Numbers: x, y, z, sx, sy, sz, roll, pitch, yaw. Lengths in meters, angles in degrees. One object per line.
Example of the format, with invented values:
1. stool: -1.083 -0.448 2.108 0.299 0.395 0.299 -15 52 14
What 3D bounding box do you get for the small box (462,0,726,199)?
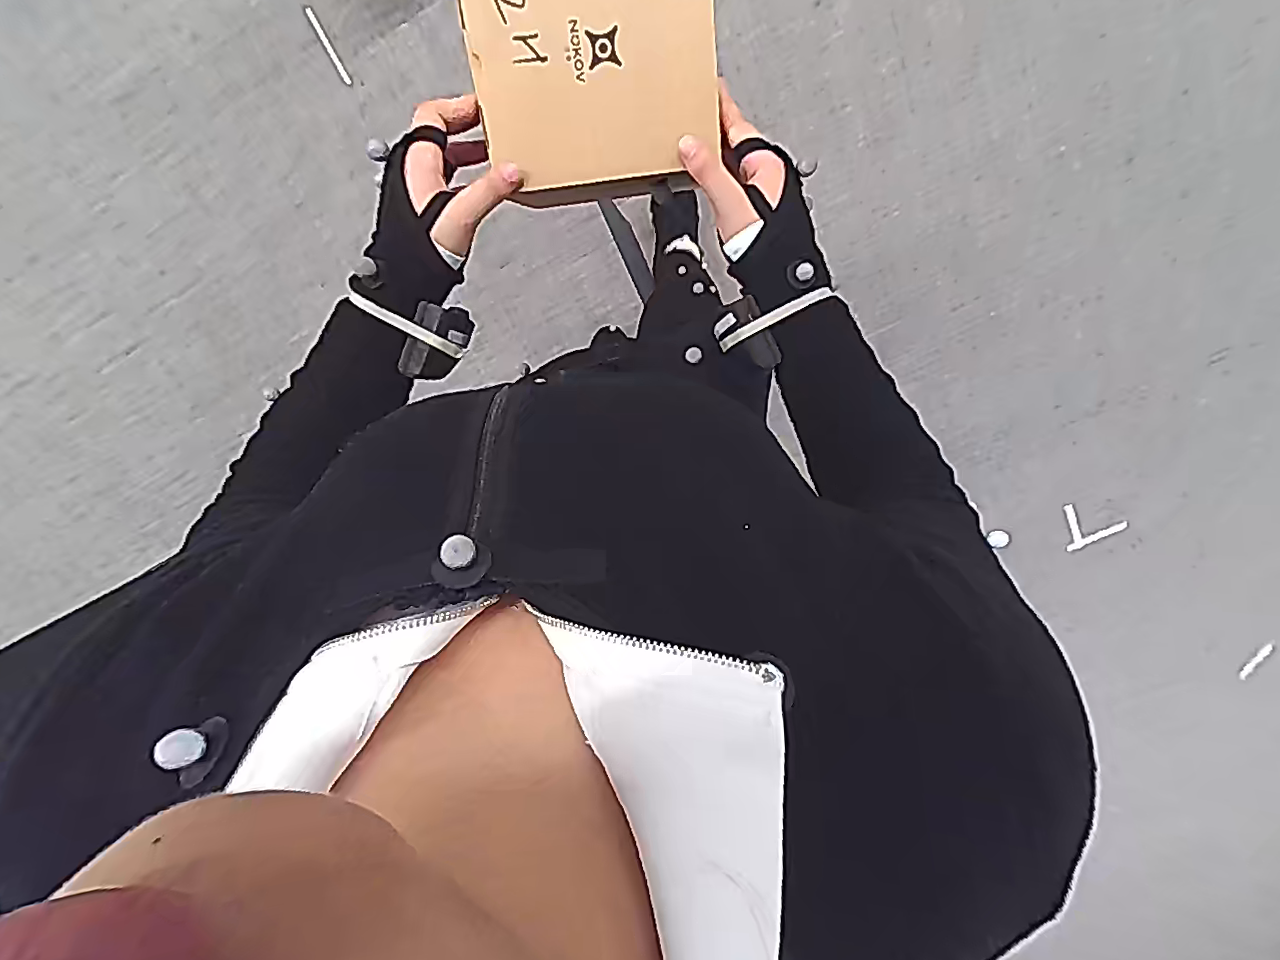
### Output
1. small box: -0.031 -0.335 0.443 0.179 0.176 0.168 -6 113 3
